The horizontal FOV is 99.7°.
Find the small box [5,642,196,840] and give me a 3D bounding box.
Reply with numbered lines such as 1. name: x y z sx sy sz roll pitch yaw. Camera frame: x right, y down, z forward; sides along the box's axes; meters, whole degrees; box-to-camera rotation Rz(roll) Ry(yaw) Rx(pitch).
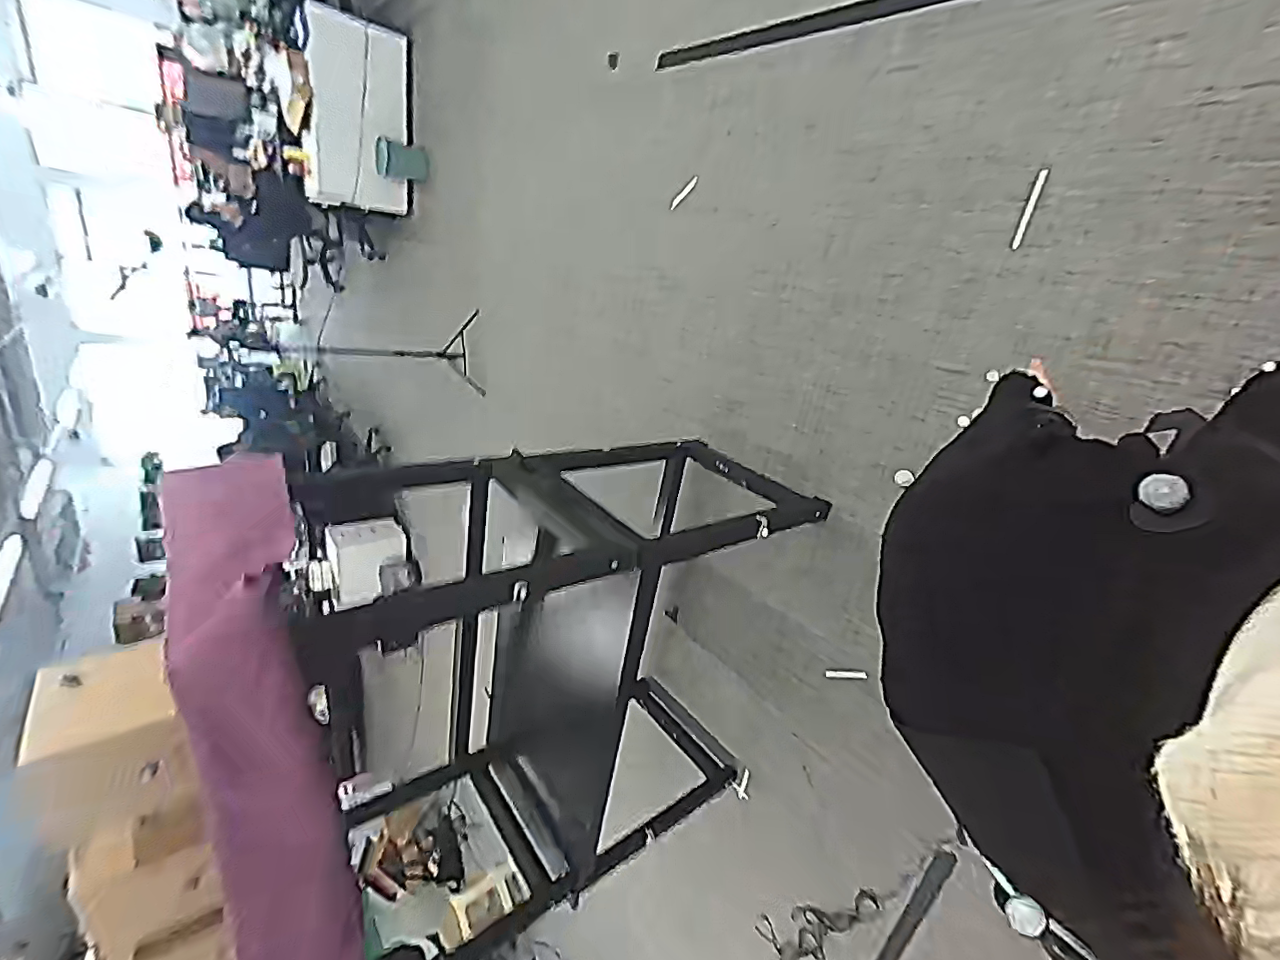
1. small box: -0.766 0.361 0.790 0.179 0.176 0.168 36 124 41

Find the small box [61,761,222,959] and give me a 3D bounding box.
1. small box: -0.809 0.608 0.889 0.168 0.176 0.179 37 123 42

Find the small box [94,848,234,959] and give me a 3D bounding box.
1. small box: -0.851 0.819 0.980 0.179 0.176 0.168 29 118 45
